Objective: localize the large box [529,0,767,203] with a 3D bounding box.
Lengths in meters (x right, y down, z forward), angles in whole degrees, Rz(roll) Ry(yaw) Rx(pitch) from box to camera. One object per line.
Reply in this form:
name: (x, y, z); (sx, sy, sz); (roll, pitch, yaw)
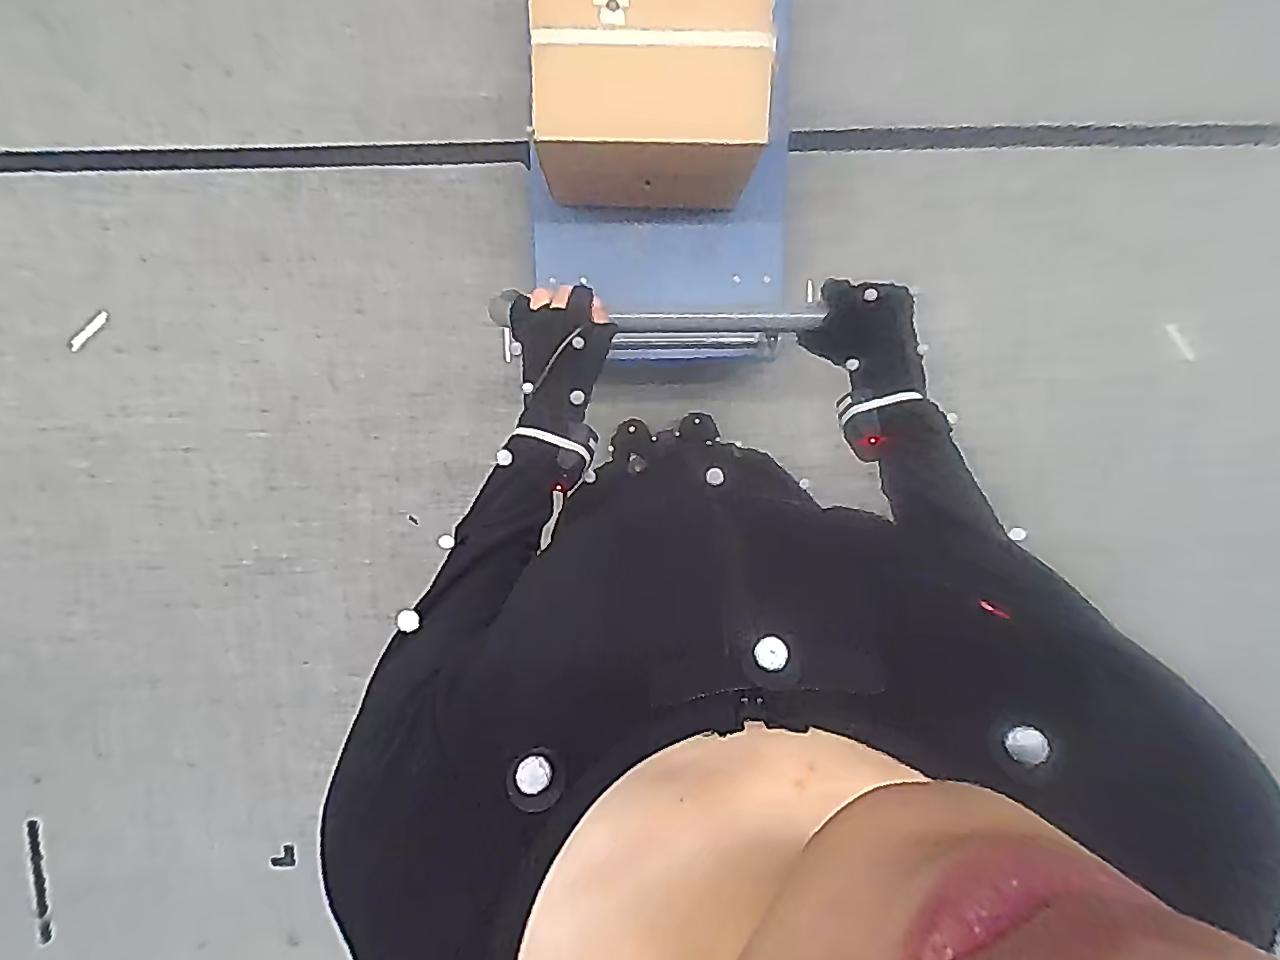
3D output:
large box: (0.014, -0.753, 1.052); (0.408, 0.320, 0.320); (0, 98, -1)
